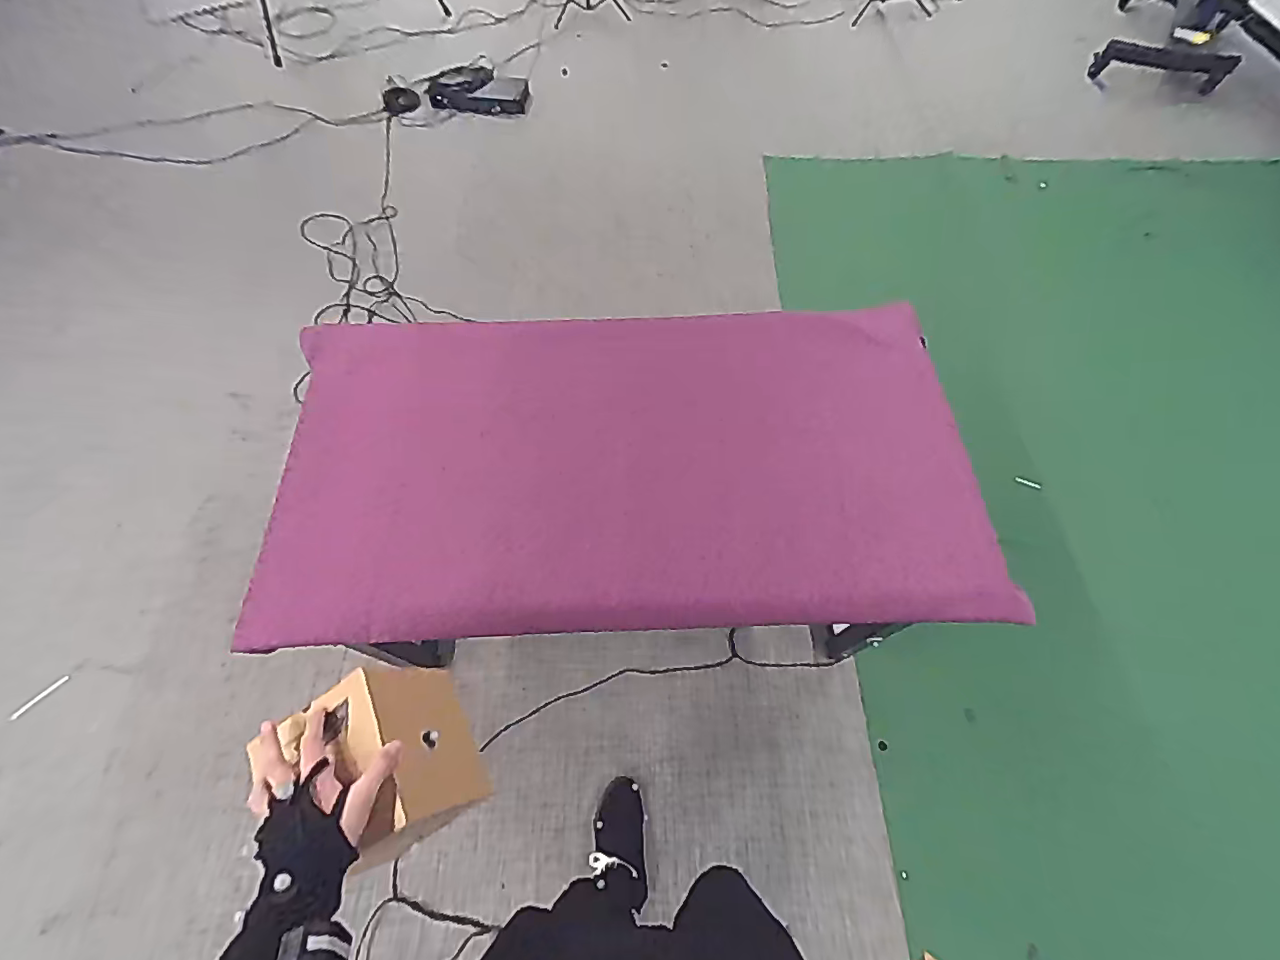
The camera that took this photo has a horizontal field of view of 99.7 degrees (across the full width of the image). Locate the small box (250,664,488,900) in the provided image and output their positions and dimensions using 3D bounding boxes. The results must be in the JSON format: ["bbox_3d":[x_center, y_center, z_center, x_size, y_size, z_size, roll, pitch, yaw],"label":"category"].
[{"bbox_3d":[-0.316,0.344,0.649,0.168,0.176,0.179,-34,65,3],"label":"small box"}]
